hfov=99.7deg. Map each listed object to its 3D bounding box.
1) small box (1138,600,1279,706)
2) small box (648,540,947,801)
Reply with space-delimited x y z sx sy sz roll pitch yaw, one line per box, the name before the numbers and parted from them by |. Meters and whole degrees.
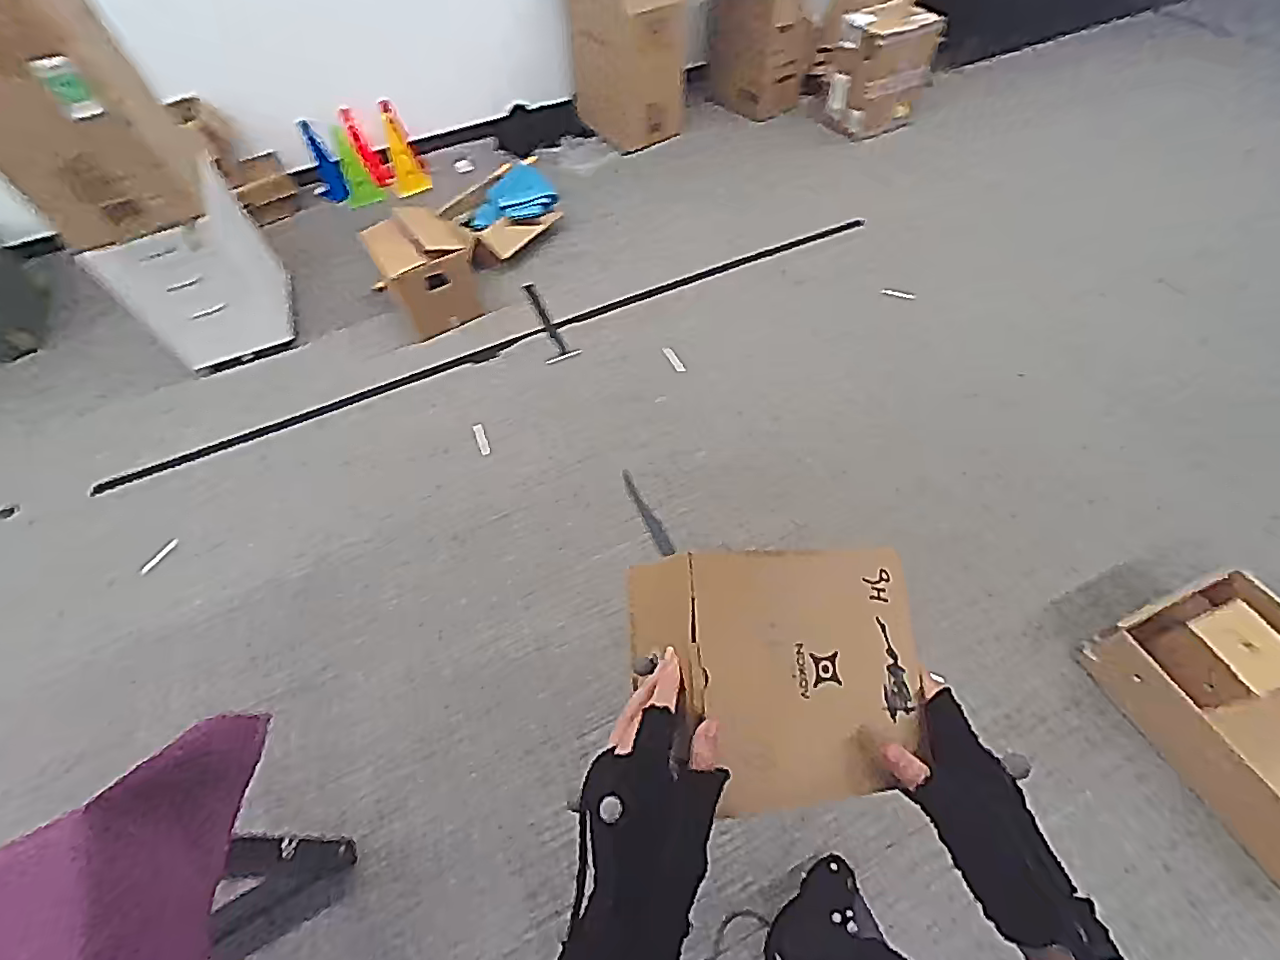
small box | 1.359 0.416 1.275 0.168 0.176 0.179 -19 56 -9
small box | 0.107 0.145 0.448 0.179 0.176 0.168 2 75 -15
